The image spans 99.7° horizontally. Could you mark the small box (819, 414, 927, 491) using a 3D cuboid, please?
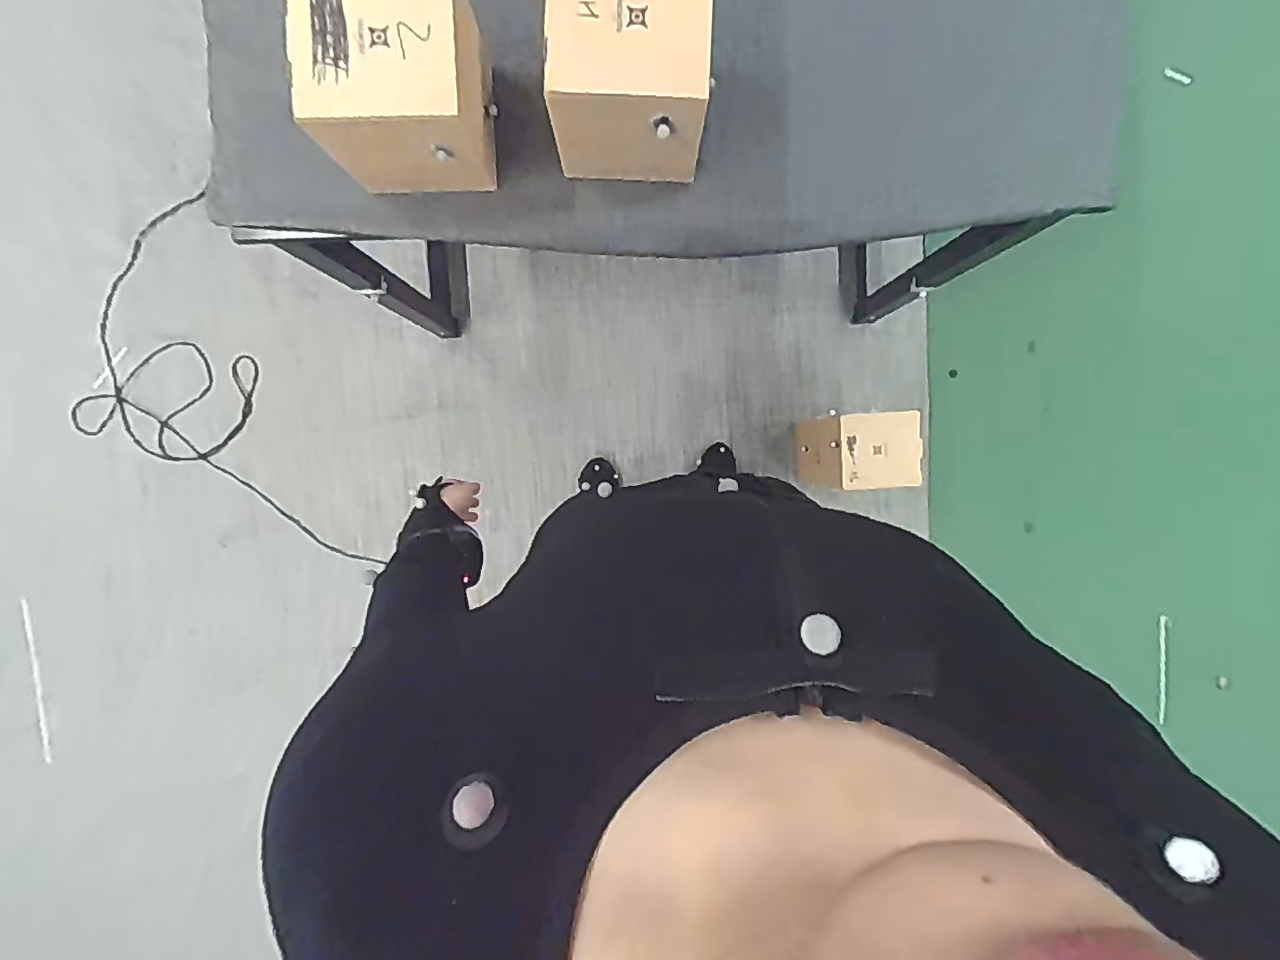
[{"bbox_3d":[0.522,-0.067,1.230,0.179,0.176,0.168,-2,95,0],"label":"small box"}]

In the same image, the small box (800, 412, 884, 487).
[{"bbox_3d":[0.518,-0.079,1.394,0.168,0.176,0.179,-4,92,0],"label":"small box"}]

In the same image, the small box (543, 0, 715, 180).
[{"bbox_3d":[-0.010,-0.481,0.641,0.179,0.176,0.168,3,91,1],"label":"small box"}]
